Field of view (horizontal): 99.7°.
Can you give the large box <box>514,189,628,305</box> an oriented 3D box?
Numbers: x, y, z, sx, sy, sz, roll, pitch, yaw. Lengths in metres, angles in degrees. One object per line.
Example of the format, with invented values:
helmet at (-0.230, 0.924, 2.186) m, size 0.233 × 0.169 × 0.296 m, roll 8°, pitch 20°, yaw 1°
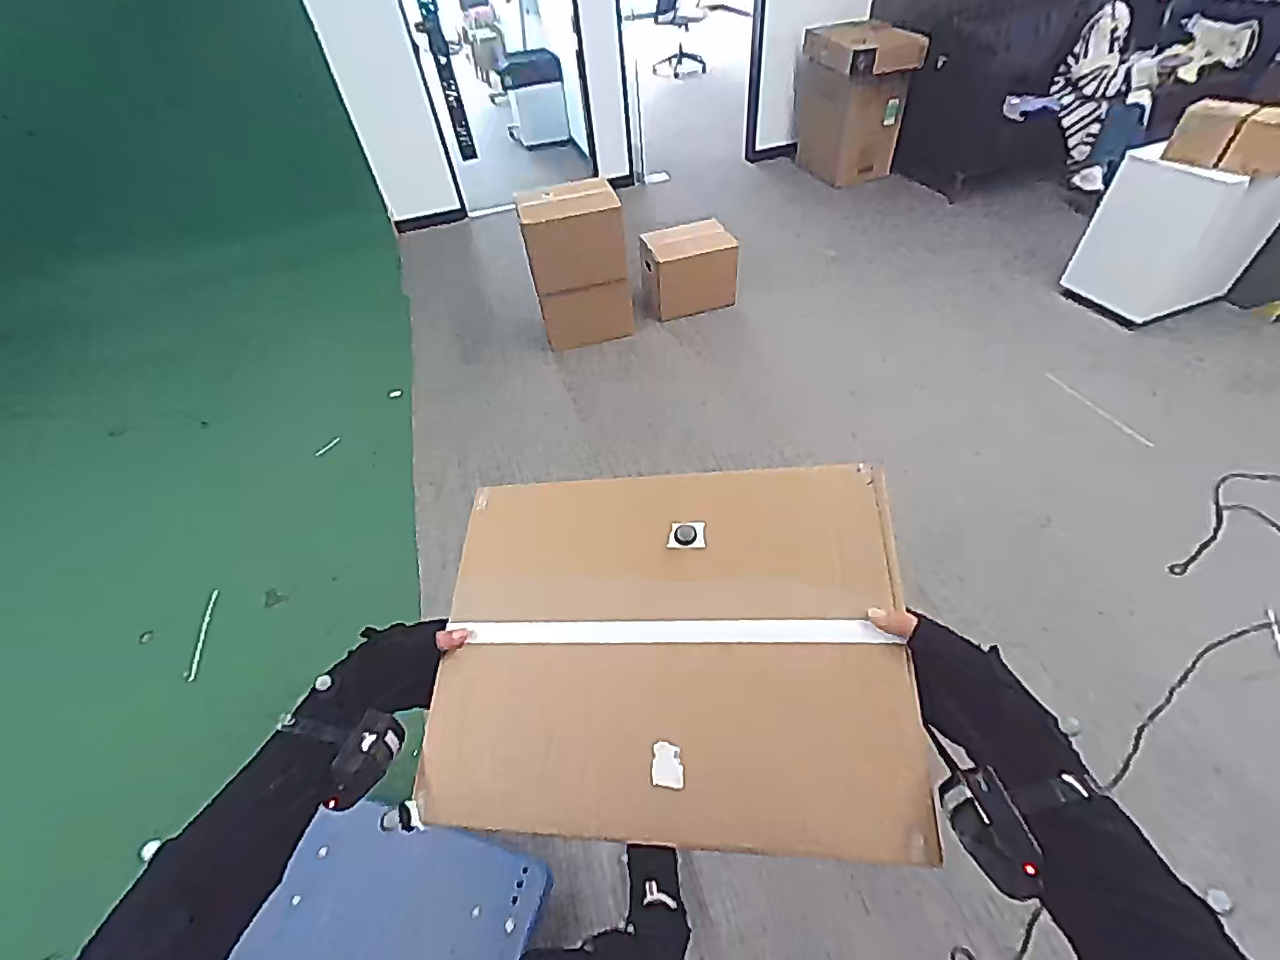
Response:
large box at (-0.291, -1.001, 2.323) m, size 0.408 × 0.320 × 0.320 m, roll -15°, pitch 50°, yaw -7°
